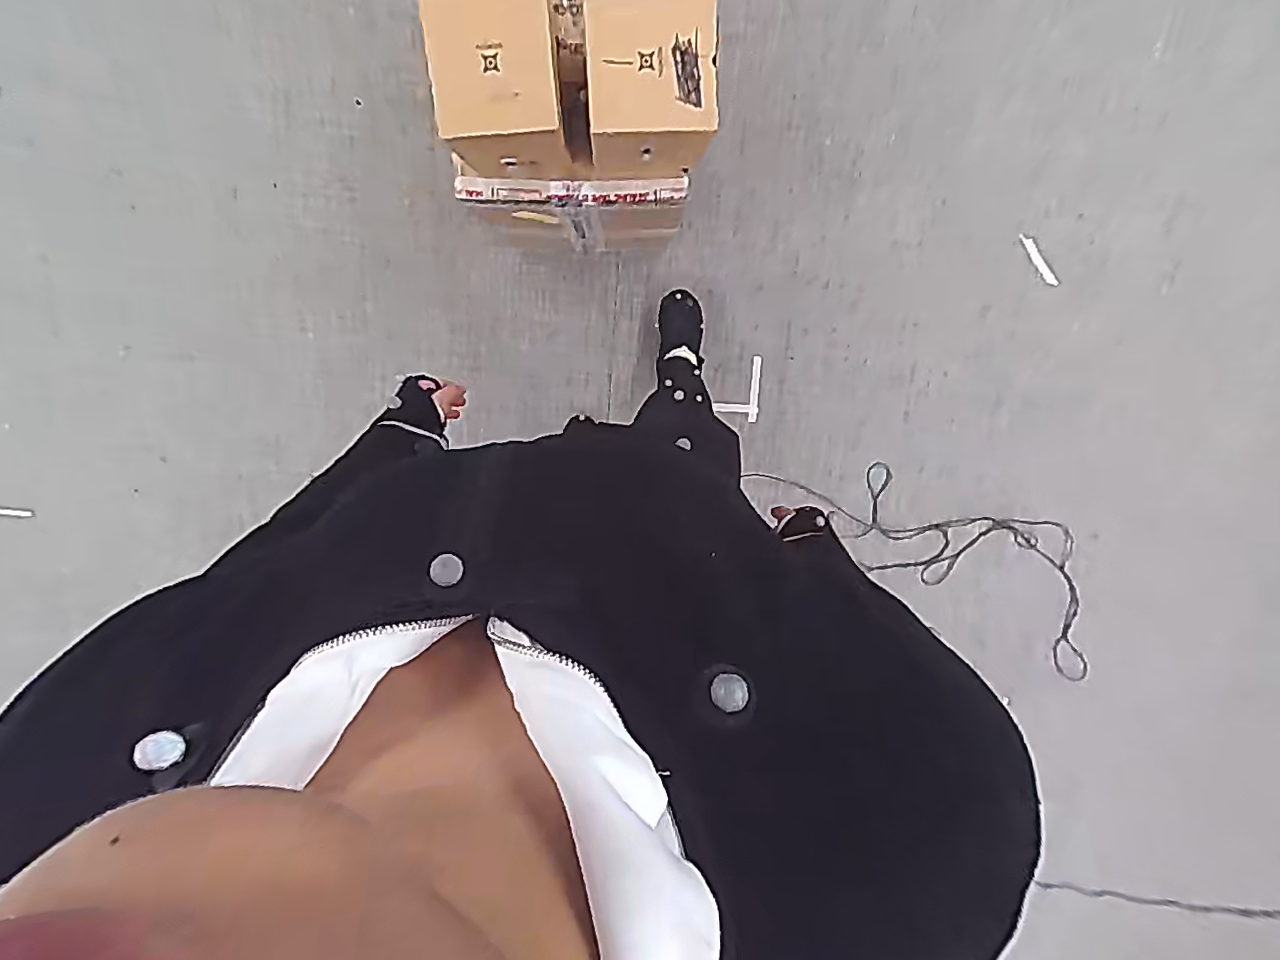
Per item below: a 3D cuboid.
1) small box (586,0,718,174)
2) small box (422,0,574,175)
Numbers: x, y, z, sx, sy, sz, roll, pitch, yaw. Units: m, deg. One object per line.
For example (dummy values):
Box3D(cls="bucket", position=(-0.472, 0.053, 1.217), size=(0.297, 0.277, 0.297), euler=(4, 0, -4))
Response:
Box3D(cls="small box", position=(0.013, -0.566, 0.796), size=(0.179, 0.176, 0.168), euler=(-2, 104, -2))
Box3D(cls="small box", position=(-0.194, -0.570, 0.791), size=(0.168, 0.176, 0.179), euler=(-5, 106, 2))
